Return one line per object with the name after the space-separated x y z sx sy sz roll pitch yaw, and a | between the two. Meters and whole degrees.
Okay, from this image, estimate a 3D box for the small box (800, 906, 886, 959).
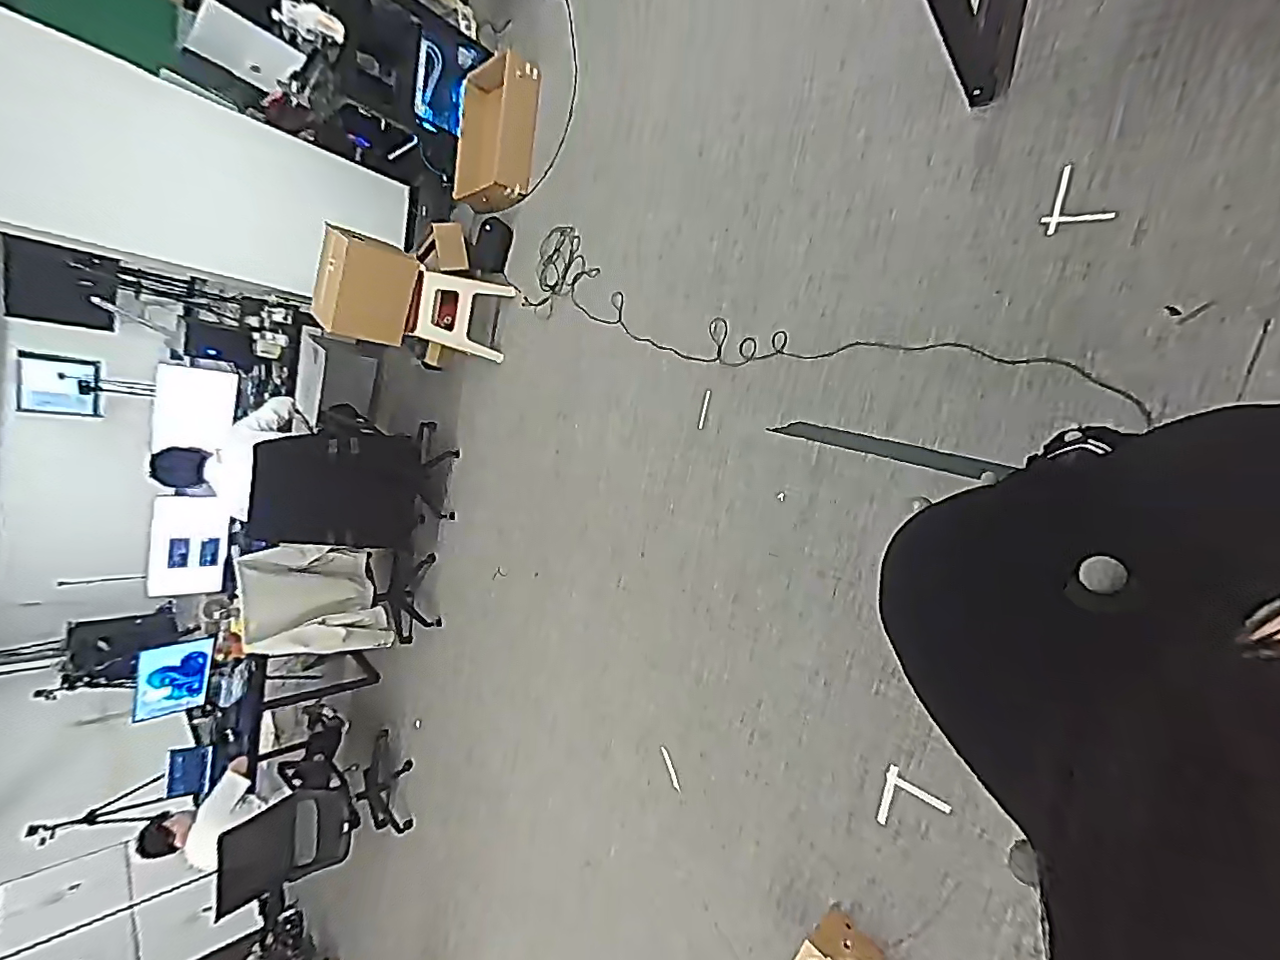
0.548 1.332 1.479 0.168 0.176 0.179 31 109 40 | small box
